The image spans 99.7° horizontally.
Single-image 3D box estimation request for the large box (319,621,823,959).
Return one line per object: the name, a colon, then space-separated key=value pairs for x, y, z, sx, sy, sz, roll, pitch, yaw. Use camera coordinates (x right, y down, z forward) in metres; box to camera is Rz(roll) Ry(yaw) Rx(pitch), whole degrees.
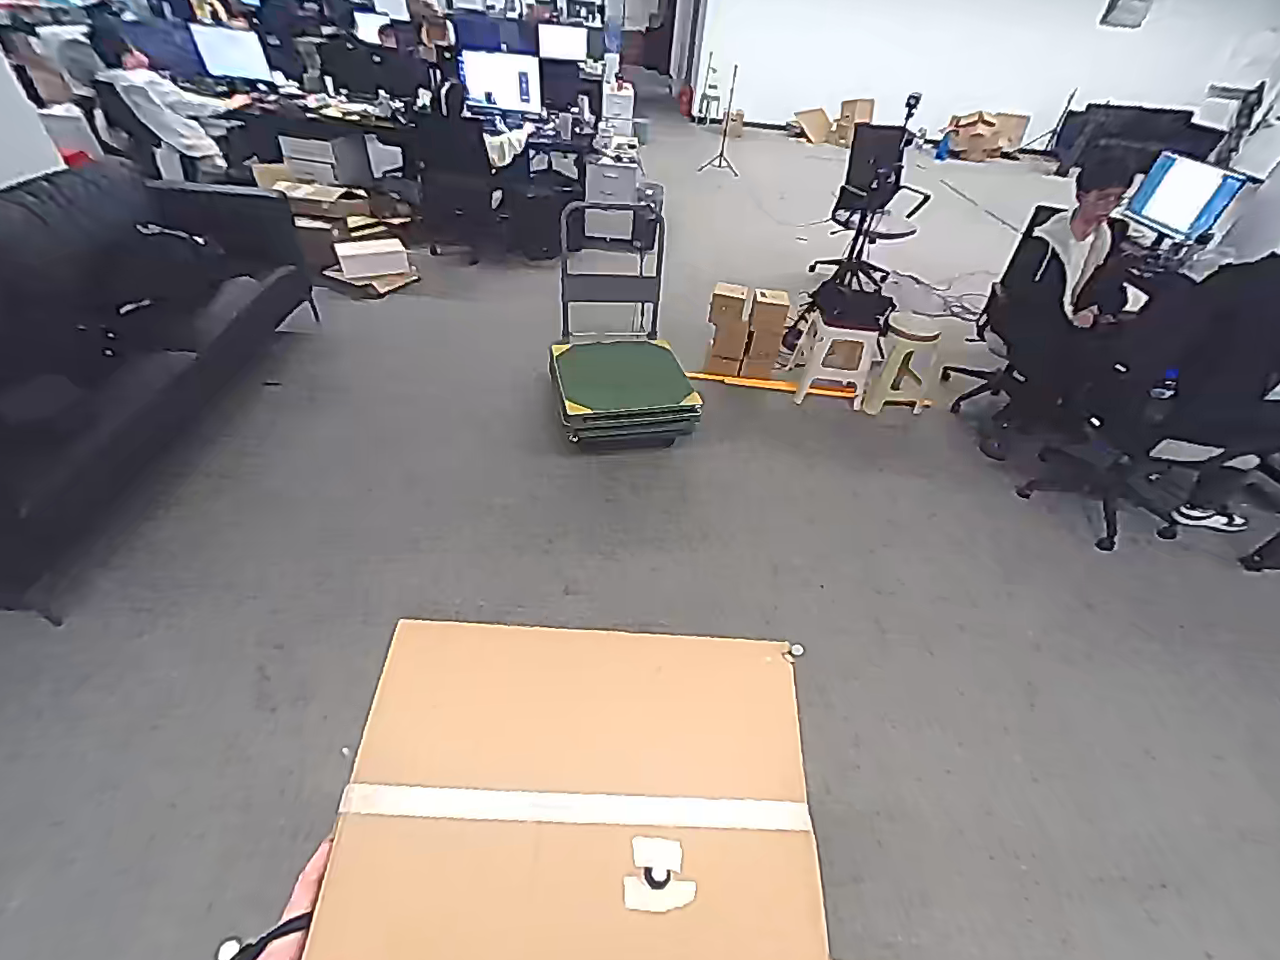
large box: x=-0.061 y=0.367 z=0.611 sx=0.408 sy=0.320 sz=0.320 roll=4 pitch=57 yaw=-3
